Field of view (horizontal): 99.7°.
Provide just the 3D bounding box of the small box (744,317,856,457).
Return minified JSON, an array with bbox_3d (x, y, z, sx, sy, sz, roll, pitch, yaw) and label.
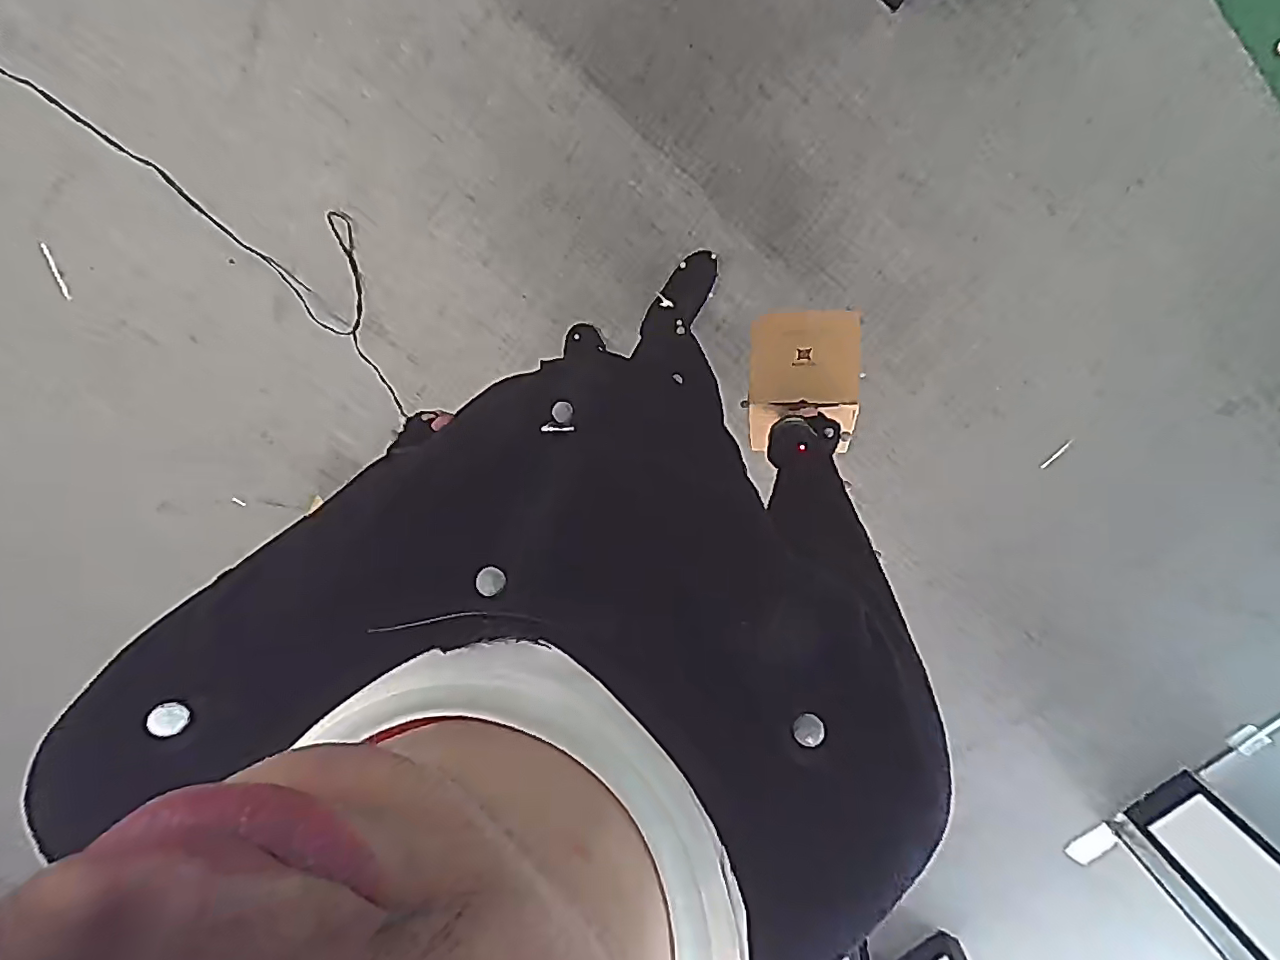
[{"bbox_3d":[0.265,-0.150,0.911,0.168,0.176,0.179,3,65,12],"label":"small box"}]
